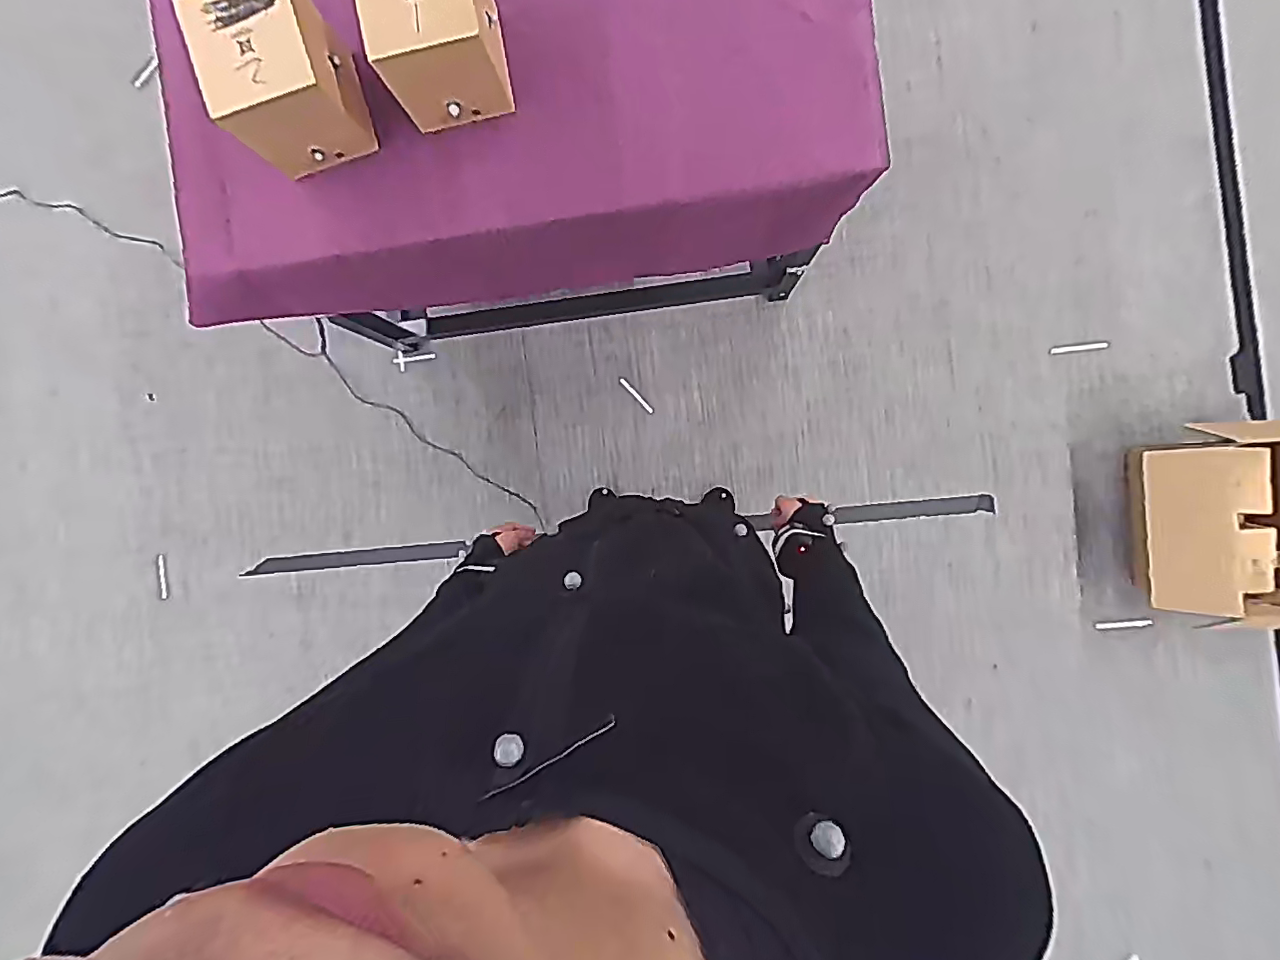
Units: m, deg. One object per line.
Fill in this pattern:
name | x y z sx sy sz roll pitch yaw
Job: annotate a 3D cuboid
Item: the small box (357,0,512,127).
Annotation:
small box | -0.308 -0.686 0.822 0.168 0.176 0.179 -10 92 4
